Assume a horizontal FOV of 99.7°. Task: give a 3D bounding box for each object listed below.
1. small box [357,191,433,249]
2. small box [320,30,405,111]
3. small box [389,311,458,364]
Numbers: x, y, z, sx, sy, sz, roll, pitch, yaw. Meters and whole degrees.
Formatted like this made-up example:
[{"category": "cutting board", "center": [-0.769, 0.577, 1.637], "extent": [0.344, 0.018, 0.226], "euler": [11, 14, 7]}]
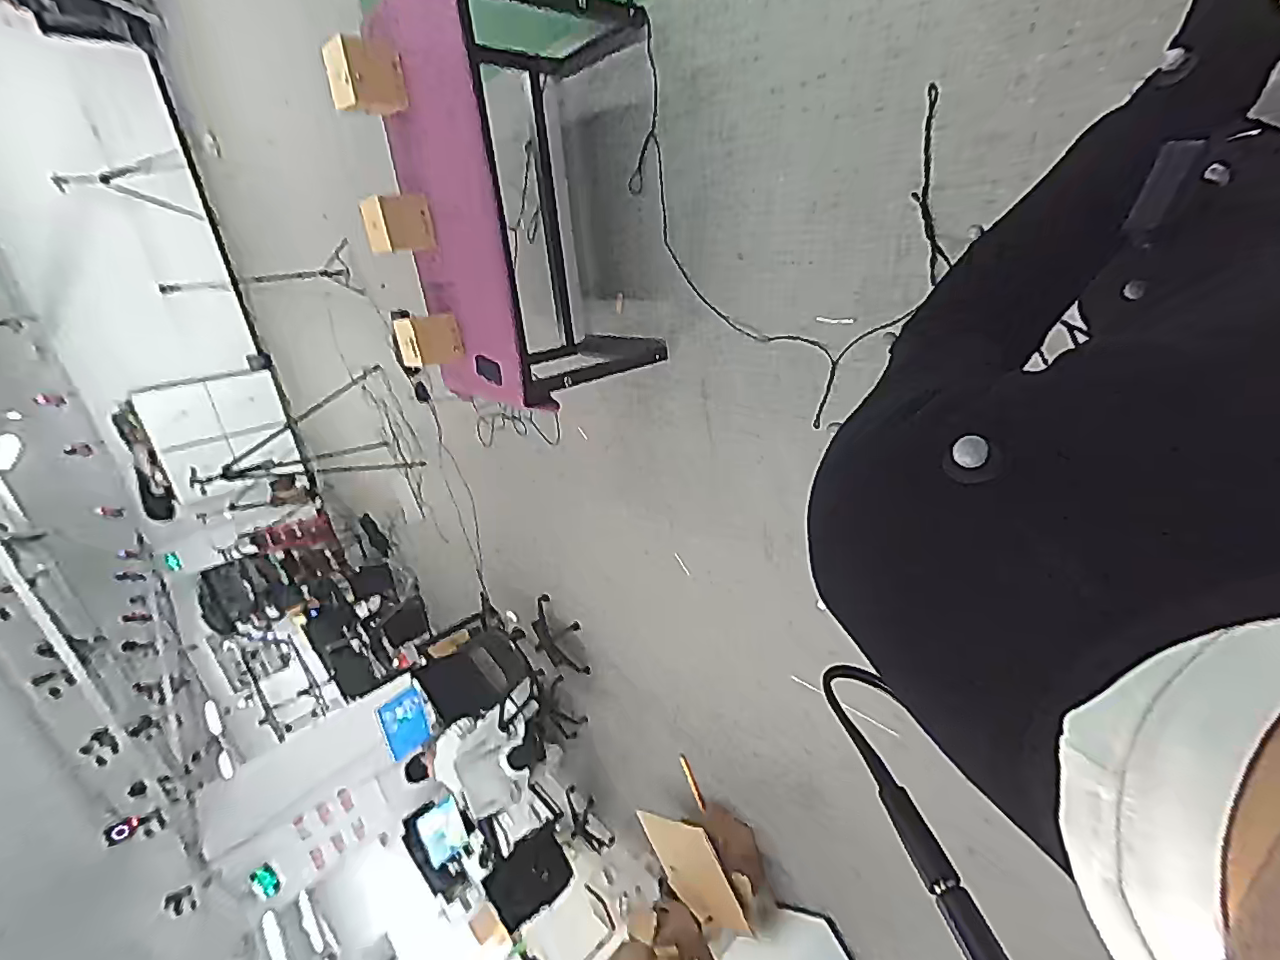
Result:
[{"category": "small box", "center": [-0.835, -0.887, 1.851], "extent": [0.179, 0.176, 0.168], "euler": [18, 123, 43]}, {"category": "small box", "center": [-0.852, -1.256, 1.671], "extent": [0.179, 0.176, 0.168], "euler": [22, 126, 42]}, {"category": "small box", "center": [-0.786, -0.525, 1.985], "extent": [0.179, 0.176, 0.168], "euler": [15, 120, 45]}]
